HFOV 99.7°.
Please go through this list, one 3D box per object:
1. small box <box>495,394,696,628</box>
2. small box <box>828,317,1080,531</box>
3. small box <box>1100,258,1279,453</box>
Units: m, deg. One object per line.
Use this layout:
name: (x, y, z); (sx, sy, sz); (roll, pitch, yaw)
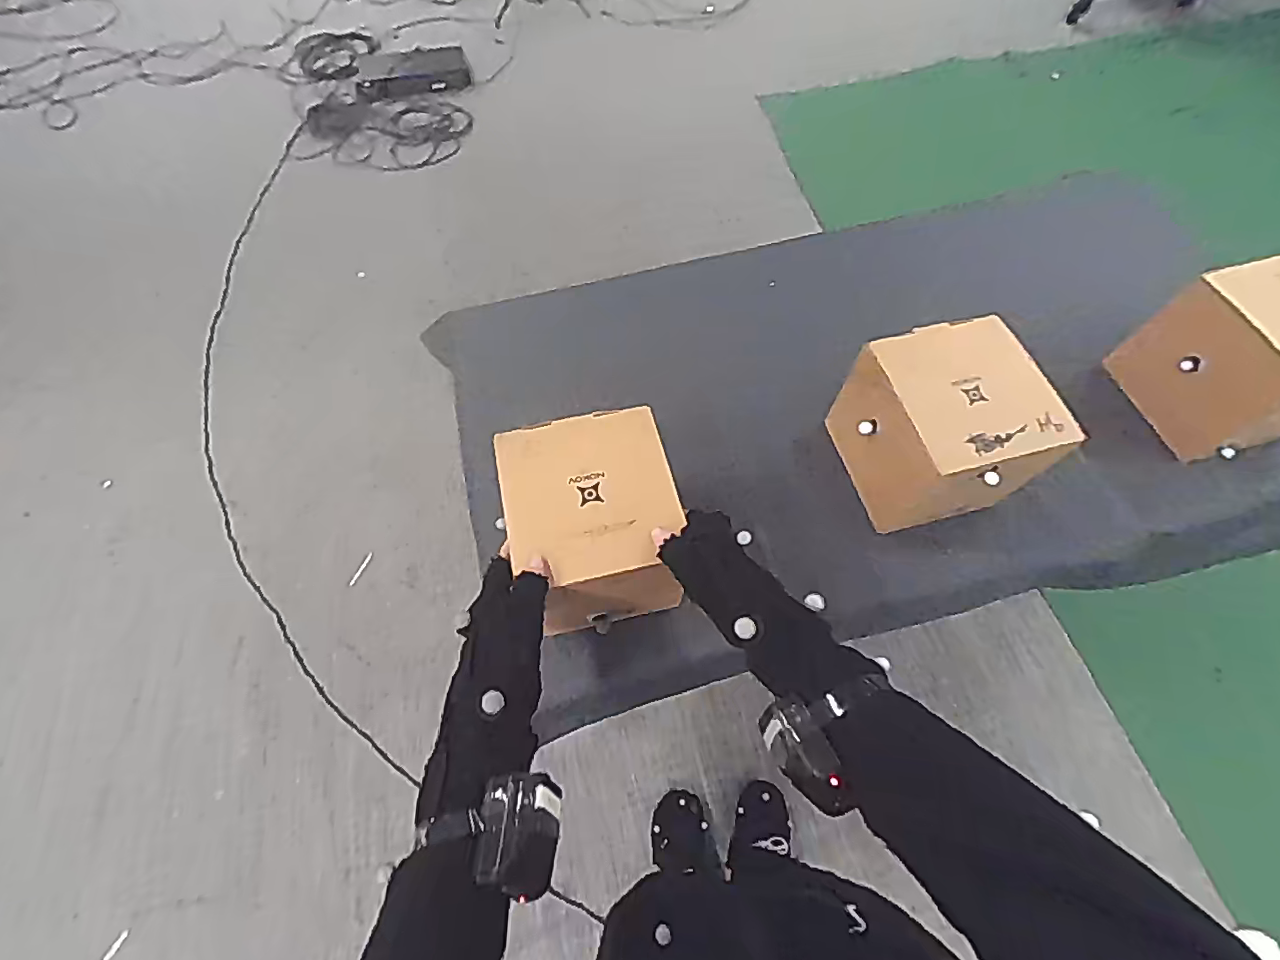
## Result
small box: (-0.049, 0.037, 0.567); (0.168, 0.176, 0.179); (-10, 62, -6)
small box: (0.351, -0.061, 0.651); (0.168, 0.176, 0.179); (-14, 64, -5)
small box: (0.761, -0.150, 0.687); (0.168, 0.176, 0.179); (-14, 63, -5)
